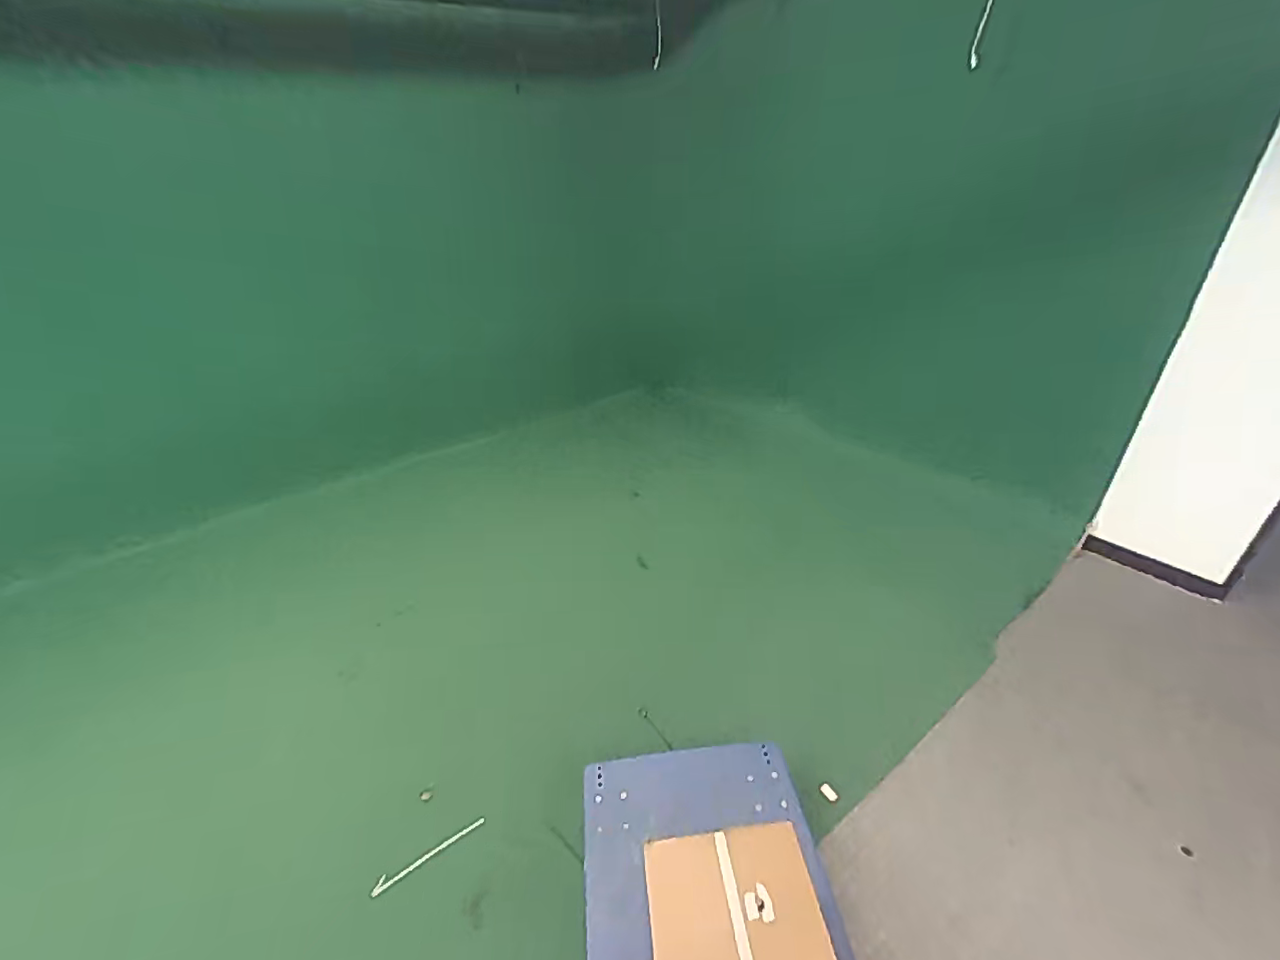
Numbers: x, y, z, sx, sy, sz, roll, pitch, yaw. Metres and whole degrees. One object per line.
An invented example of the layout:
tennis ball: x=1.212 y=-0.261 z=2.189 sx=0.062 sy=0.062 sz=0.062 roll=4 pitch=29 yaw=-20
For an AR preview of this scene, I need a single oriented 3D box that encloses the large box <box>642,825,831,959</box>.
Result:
large box: x=0.187 y=0.964 z=1.025 sx=0.320 sy=0.320 sz=0.408 roll=-5 pitch=30 yaw=-3
